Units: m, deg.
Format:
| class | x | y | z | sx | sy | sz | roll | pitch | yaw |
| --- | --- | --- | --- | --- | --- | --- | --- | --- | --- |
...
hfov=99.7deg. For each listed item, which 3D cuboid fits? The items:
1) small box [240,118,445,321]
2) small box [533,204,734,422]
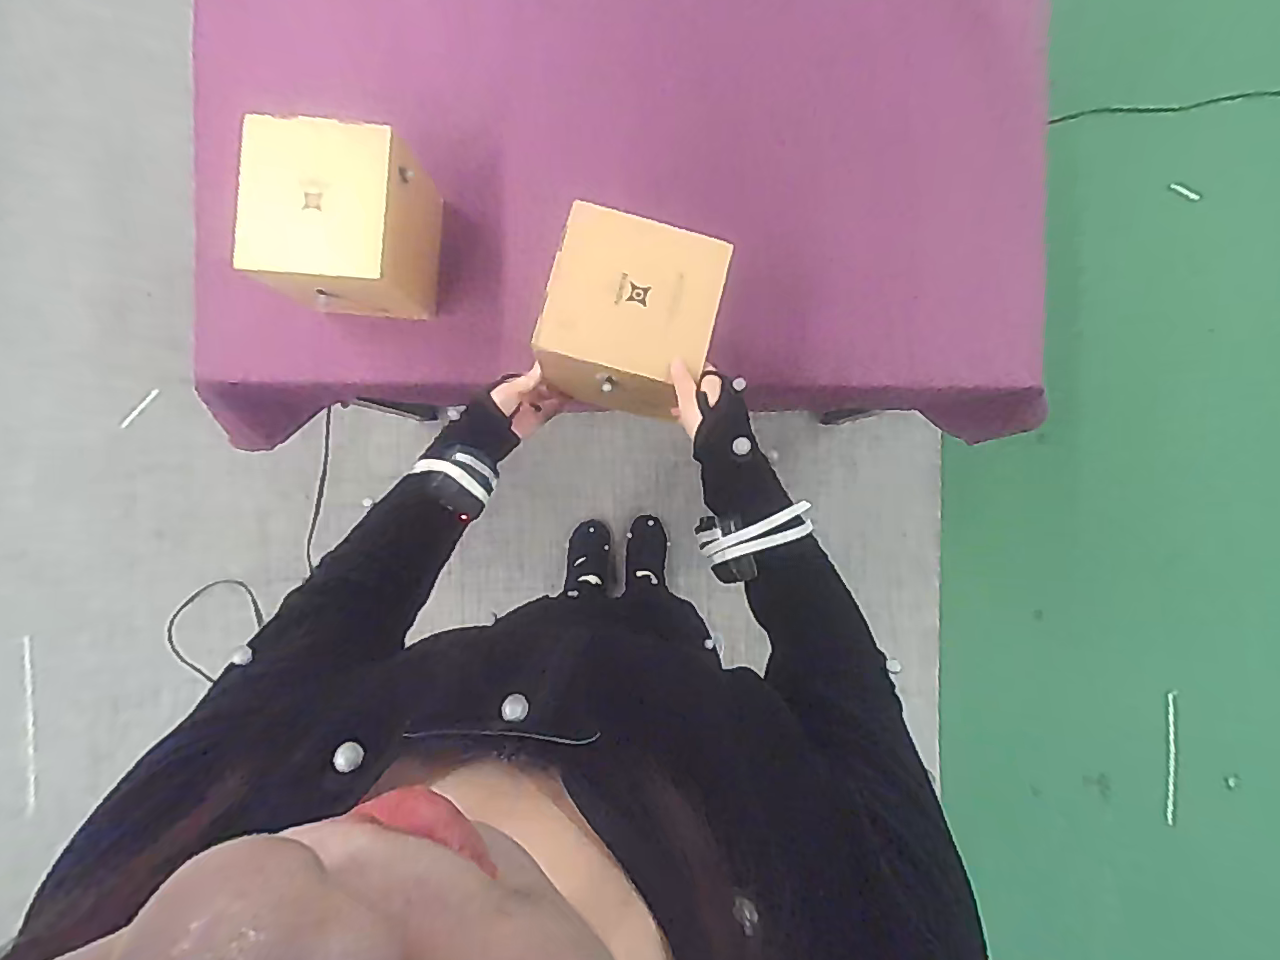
| class | x | y | z | sx | sy | sz | roll | pitch | yaw |
| --- | --- | --- | --- | --- | --- | --- | --- | --- | --- |
| small box | -0.361 | -0.314 | 0.686 | 0.168 | 0.176 | 0.179 | 4 | 89 | 0 |
| small box | -0.010 | -0.179 | 0.635 | 0.179 | 0.176 | 0.168 | 16 | 82 | -2 |
